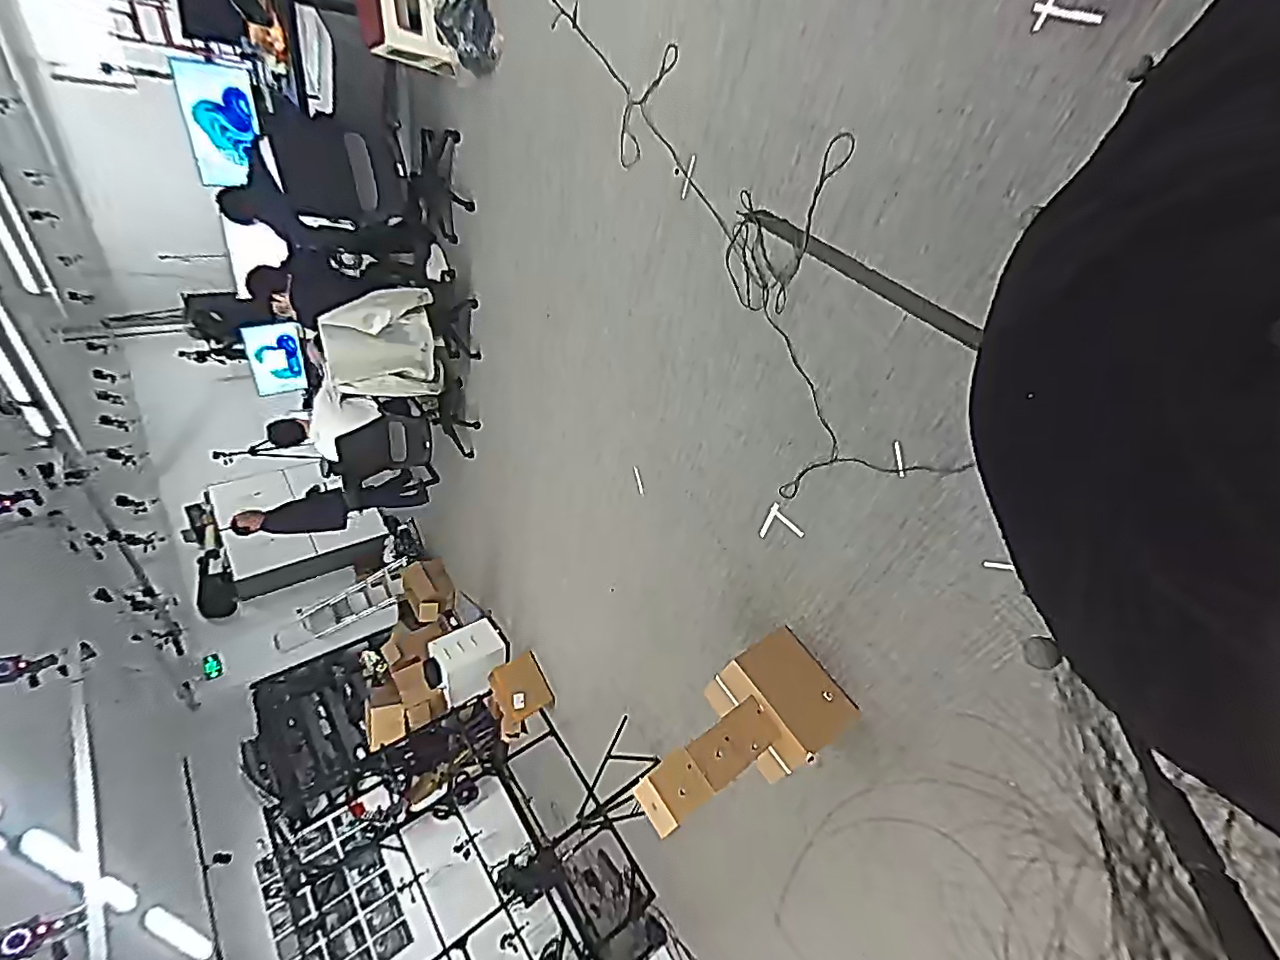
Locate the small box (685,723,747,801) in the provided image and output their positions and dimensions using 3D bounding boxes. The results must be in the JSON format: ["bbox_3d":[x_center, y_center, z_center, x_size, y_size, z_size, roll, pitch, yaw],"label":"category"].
[{"bbox_3d":[0.236,0.956,1.826,0.168,0.176,0.179,50,140,26],"label":"small box"}]

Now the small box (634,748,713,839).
[{"bbox_3d":[0.109,0.998,1.731,0.168,0.176,0.179,48,140,27],"label":"small box"}]
